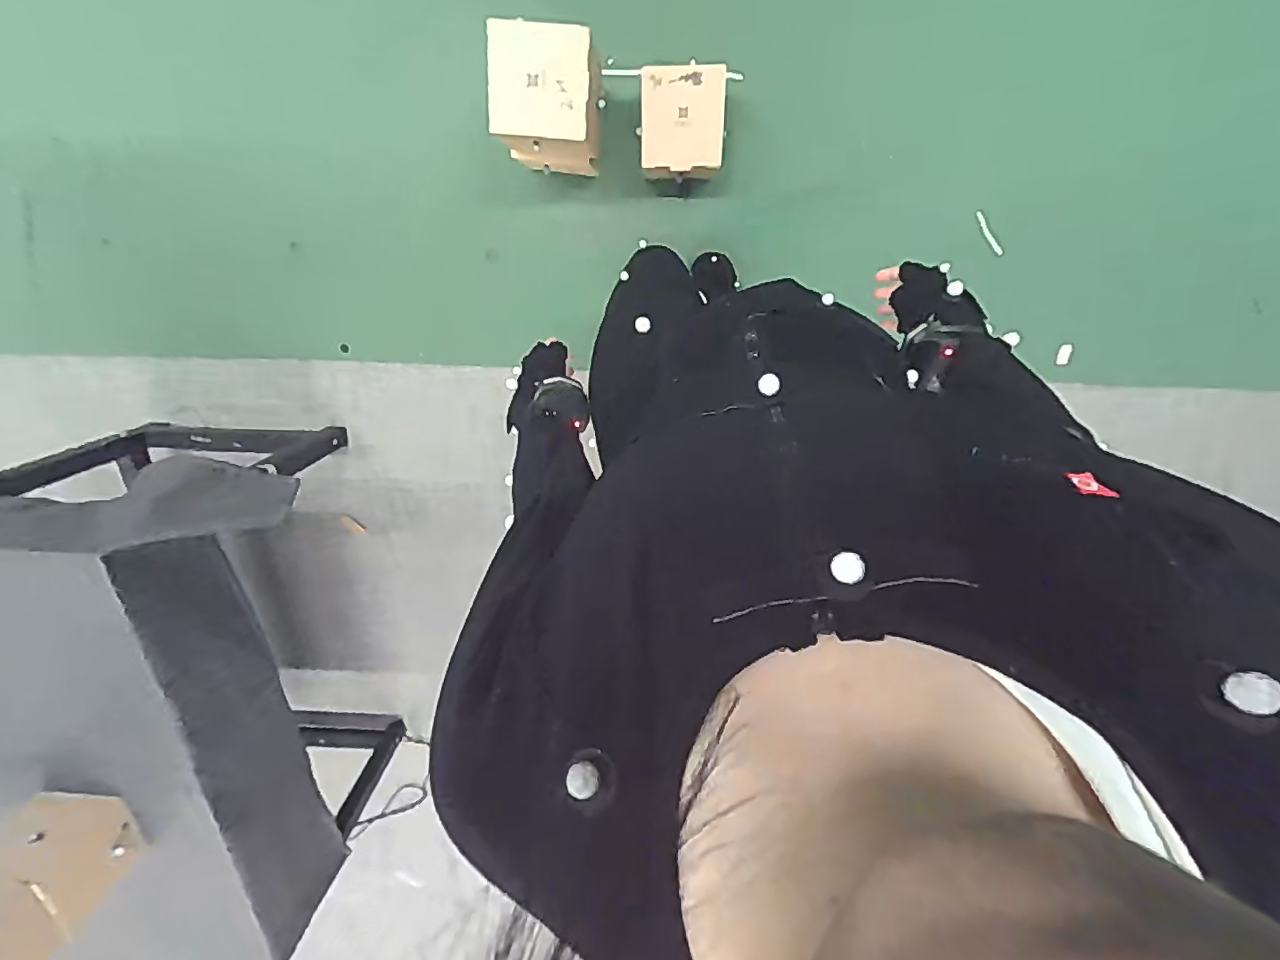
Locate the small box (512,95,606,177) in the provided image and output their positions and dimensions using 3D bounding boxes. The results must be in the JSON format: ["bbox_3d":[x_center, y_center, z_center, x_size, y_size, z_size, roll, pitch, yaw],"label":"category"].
[{"bbox_3d":[-0.169,-0.762,1.156,0.168,0.176,0.179,7,111,0],"label":"small box"}]

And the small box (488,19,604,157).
[{"bbox_3d":[-0.168,-0.710,0.999,0.179,0.176,0.168,6,112,1],"label":"small box"}]

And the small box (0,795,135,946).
[{"bbox_3d":[-1.127,0.726,1.018,0.179,0.176,0.168,3,112,1],"label":"small box"}]

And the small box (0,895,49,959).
[{"bbox_3d":[-1.139,0.790,0.869,0.168,0.176,0.179,1,112,4],"label":"small box"}]
